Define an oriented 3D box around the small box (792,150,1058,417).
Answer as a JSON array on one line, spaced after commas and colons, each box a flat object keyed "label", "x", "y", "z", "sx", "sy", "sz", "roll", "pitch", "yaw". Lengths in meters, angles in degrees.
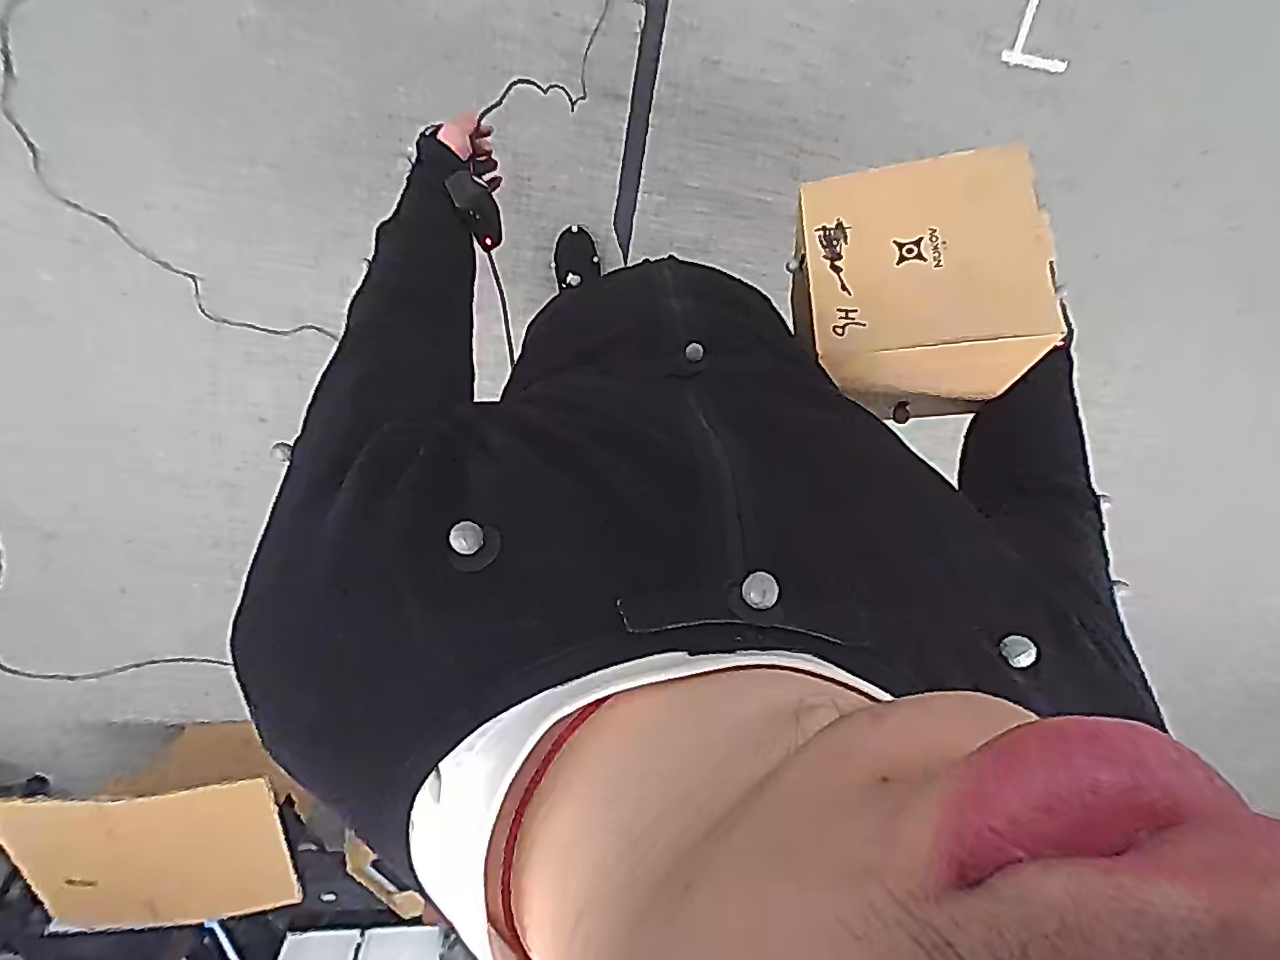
[{"label": "small box", "x": 0.245, "y": -0.168, "z": 0.515, "sx": 0.179, "sy": 0.176, "sz": 0.168, "roll": -3, "pitch": 75, "yaw": 12}]
